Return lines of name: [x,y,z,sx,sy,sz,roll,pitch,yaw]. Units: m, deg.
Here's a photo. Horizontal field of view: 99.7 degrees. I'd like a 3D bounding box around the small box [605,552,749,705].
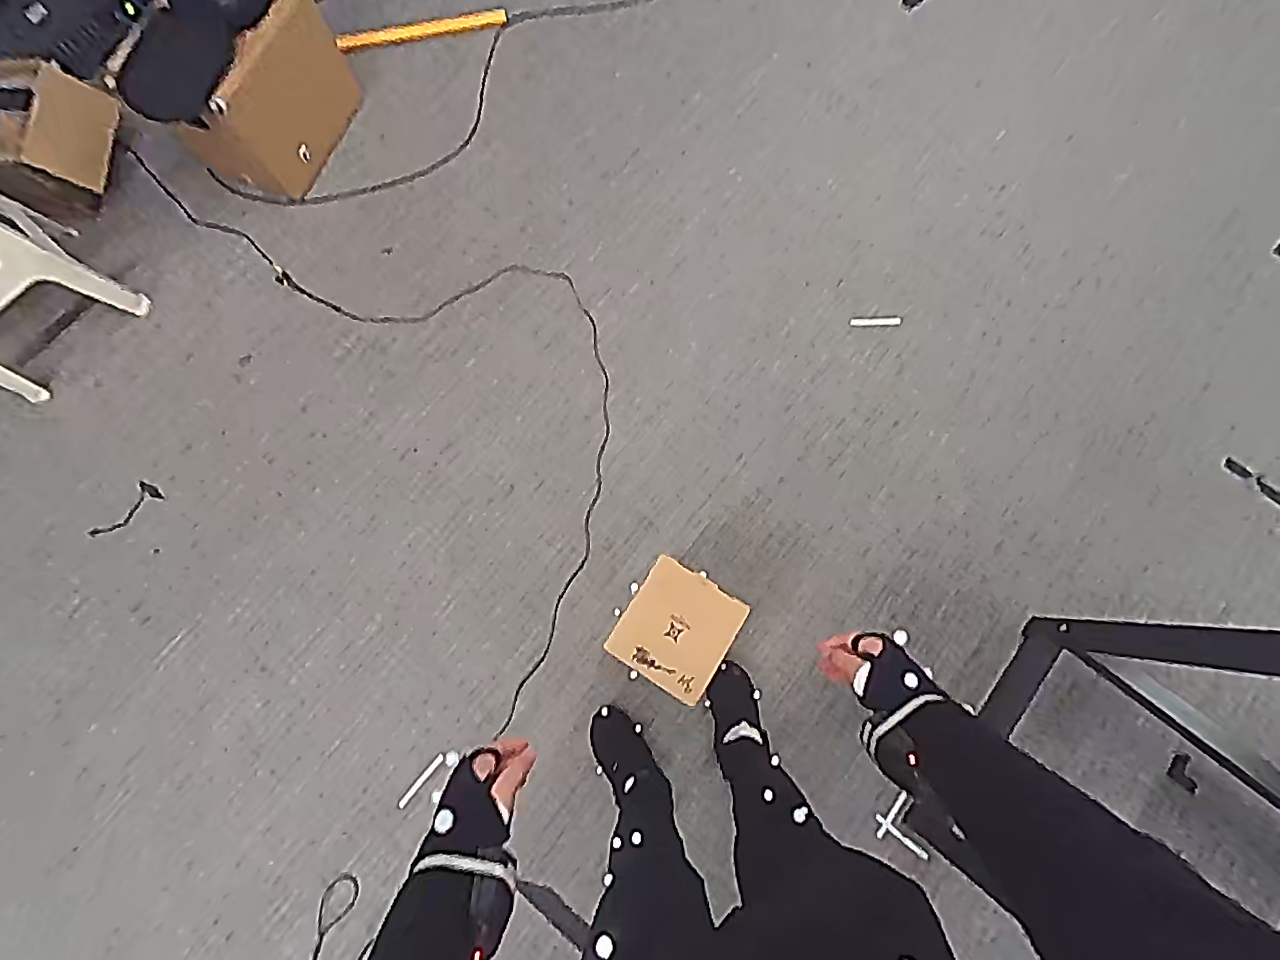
small box: [0.056,0.244,0.911,0.168,0.176,0.179,32,79,7]
